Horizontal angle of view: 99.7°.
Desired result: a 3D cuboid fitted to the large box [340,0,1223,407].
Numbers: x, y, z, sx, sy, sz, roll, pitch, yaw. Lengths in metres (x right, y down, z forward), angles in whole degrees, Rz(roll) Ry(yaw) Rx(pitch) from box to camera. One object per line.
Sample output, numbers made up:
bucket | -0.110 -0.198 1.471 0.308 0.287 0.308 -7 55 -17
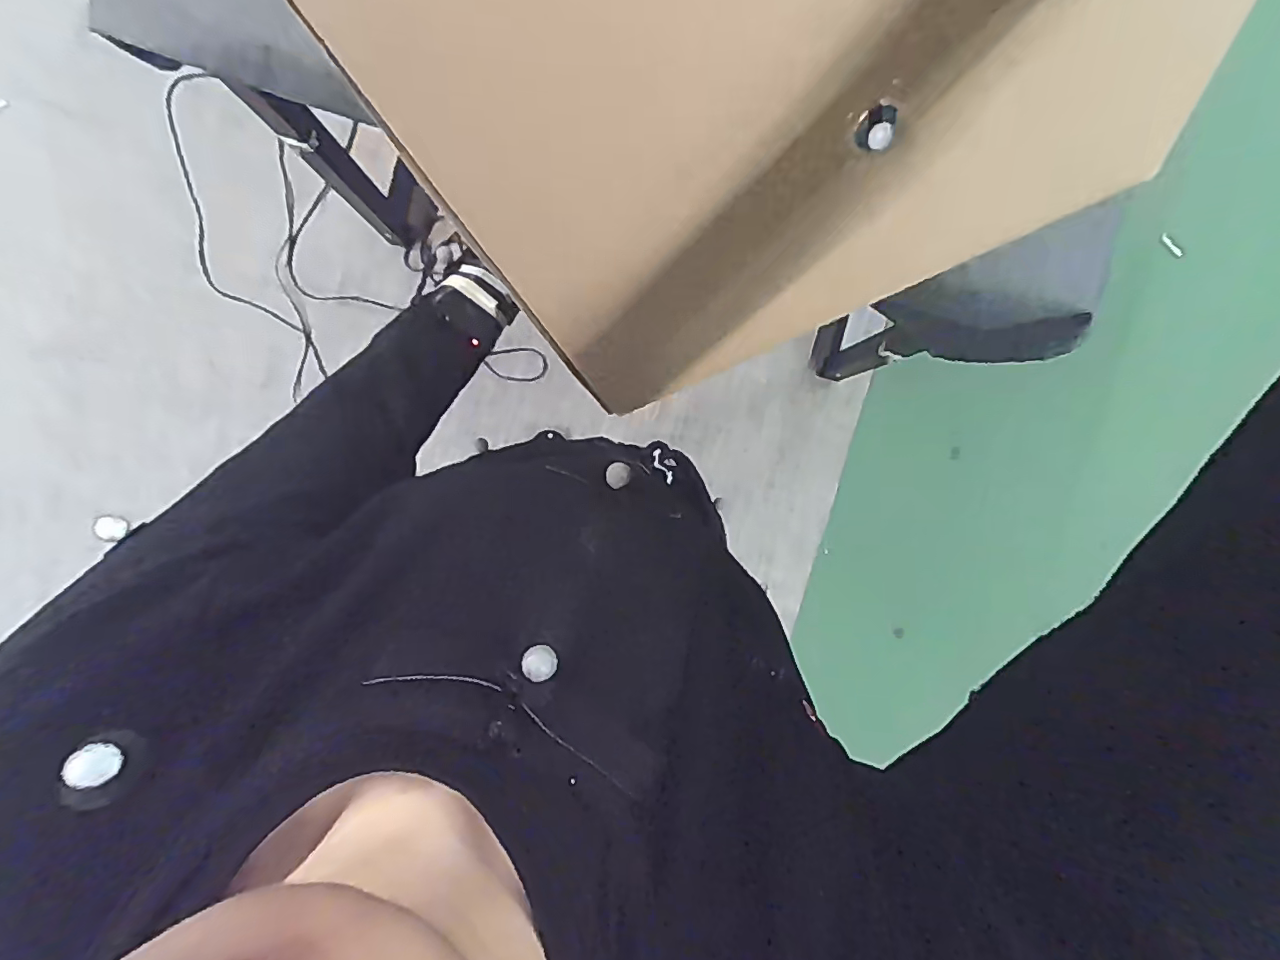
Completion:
large box | 0.079 -0.315 0.348 0.408 0.320 0.320 -25 61 11
